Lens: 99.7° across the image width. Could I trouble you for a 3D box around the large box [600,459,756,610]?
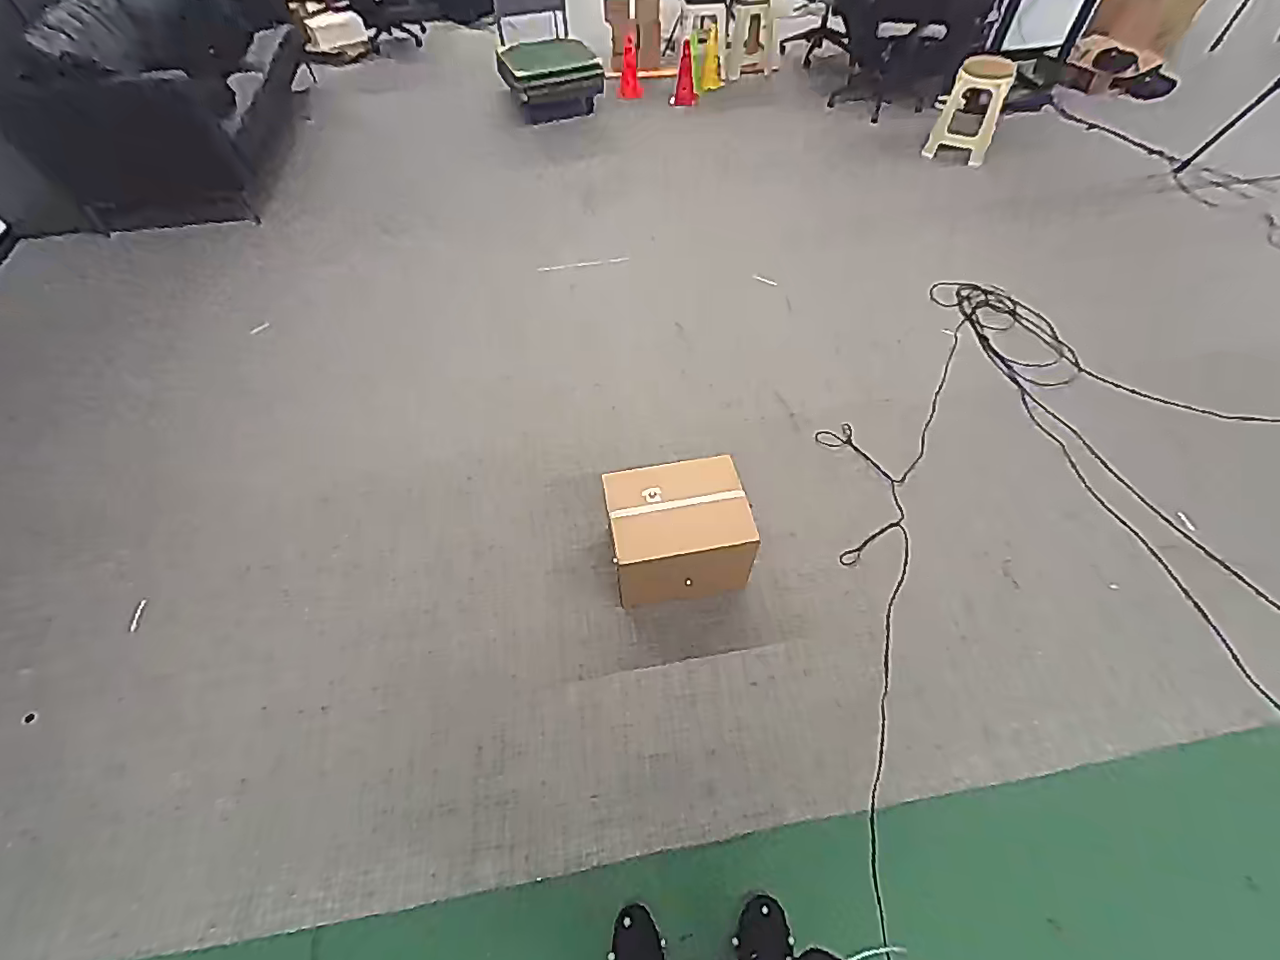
[{"bbox_3d":[0.108,0.176,1.699,0.408,0.320,0.320,-11,54,-5],"label":"large box"}]
